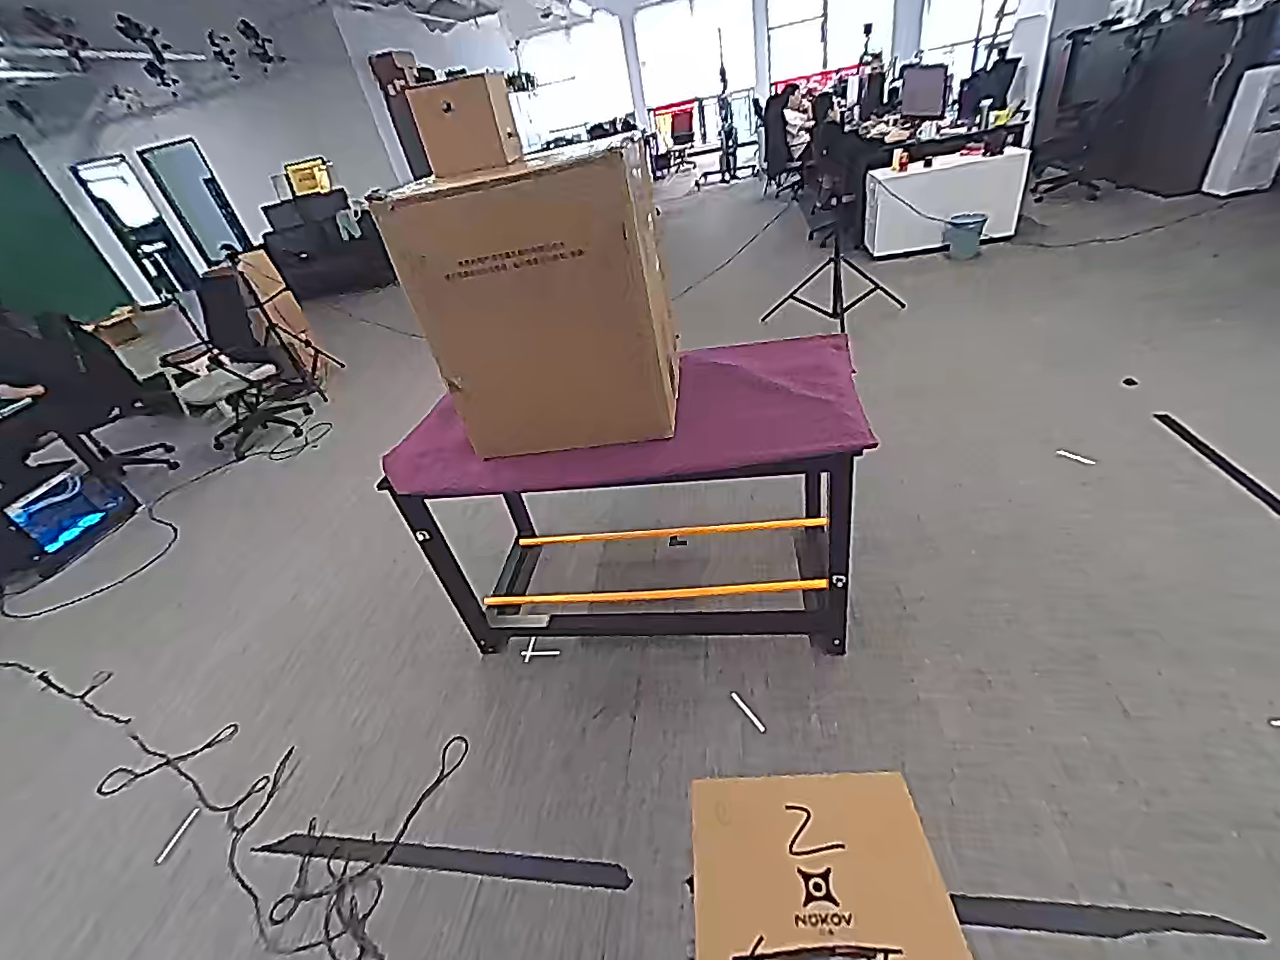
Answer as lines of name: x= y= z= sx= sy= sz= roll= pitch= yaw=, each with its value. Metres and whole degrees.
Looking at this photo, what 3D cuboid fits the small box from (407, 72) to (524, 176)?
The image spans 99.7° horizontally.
small box: x=-0.384 y=-0.800 z=1.221 sx=0.179 sy=0.176 sz=0.168 roll=-6 pitch=36 yaw=8
